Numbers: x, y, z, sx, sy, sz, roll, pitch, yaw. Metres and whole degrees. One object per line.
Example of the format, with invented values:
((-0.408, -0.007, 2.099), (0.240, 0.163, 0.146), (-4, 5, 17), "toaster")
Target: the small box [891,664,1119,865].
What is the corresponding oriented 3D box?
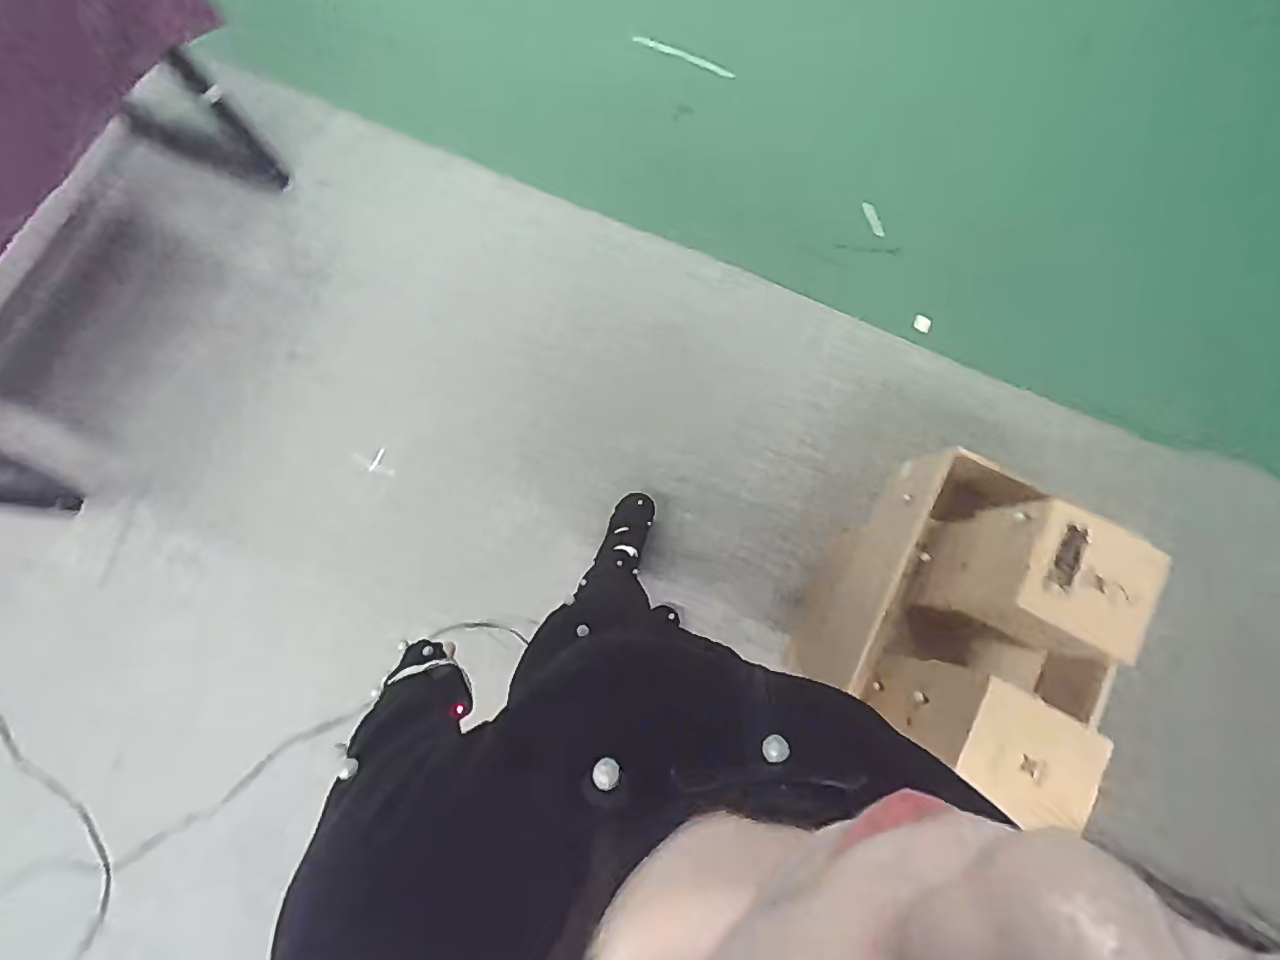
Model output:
((0.500, 0.381, 0.766), (0.179, 0.176, 0.168), (30, 80, 6), "small box")
